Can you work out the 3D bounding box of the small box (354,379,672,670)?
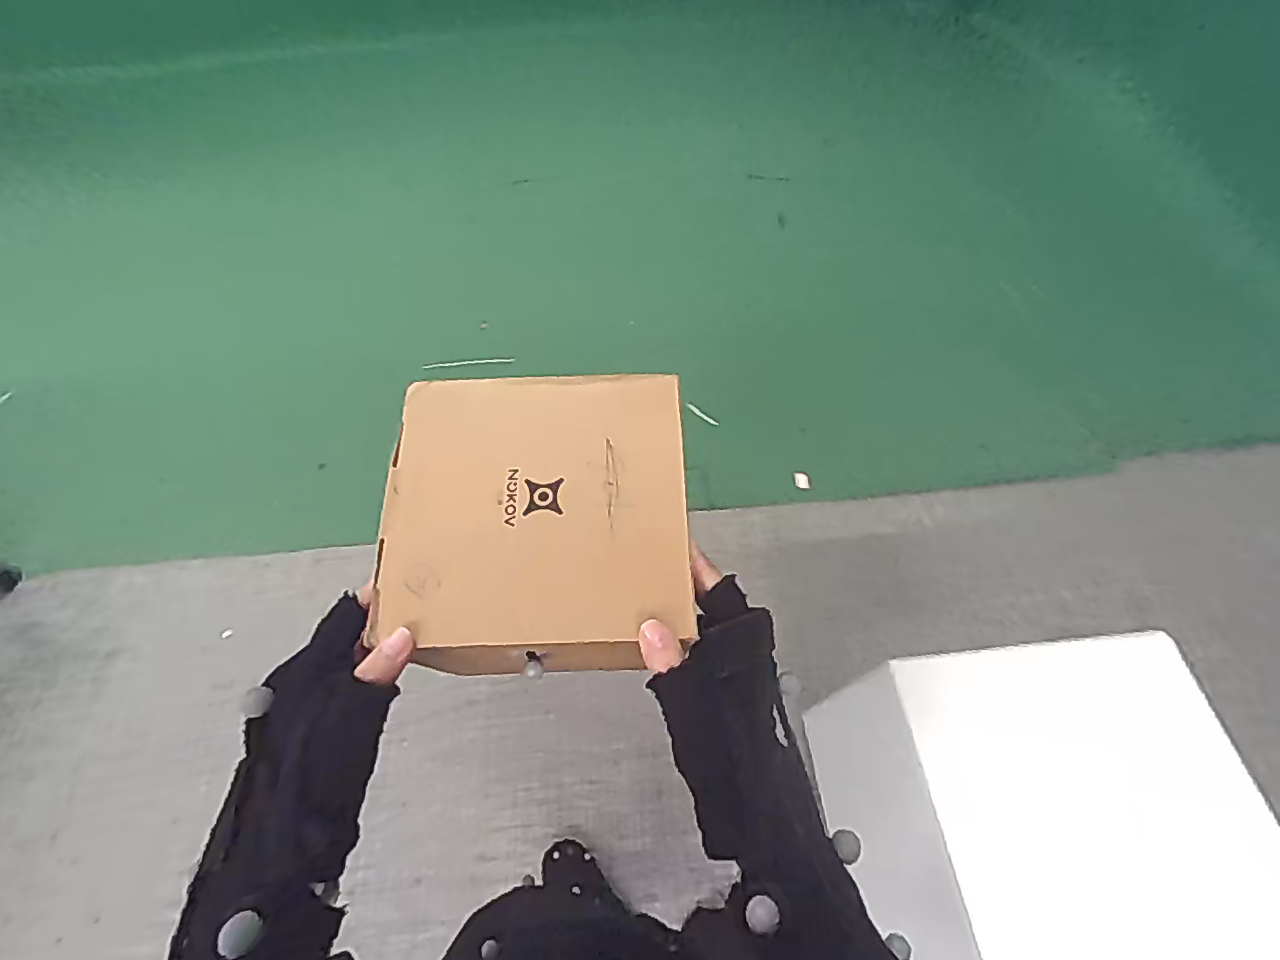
[{"bbox_3d":[-0.071,0.044,0.397,0.179,0.176,0.168,-2,66,-2],"label":"small box"}]
